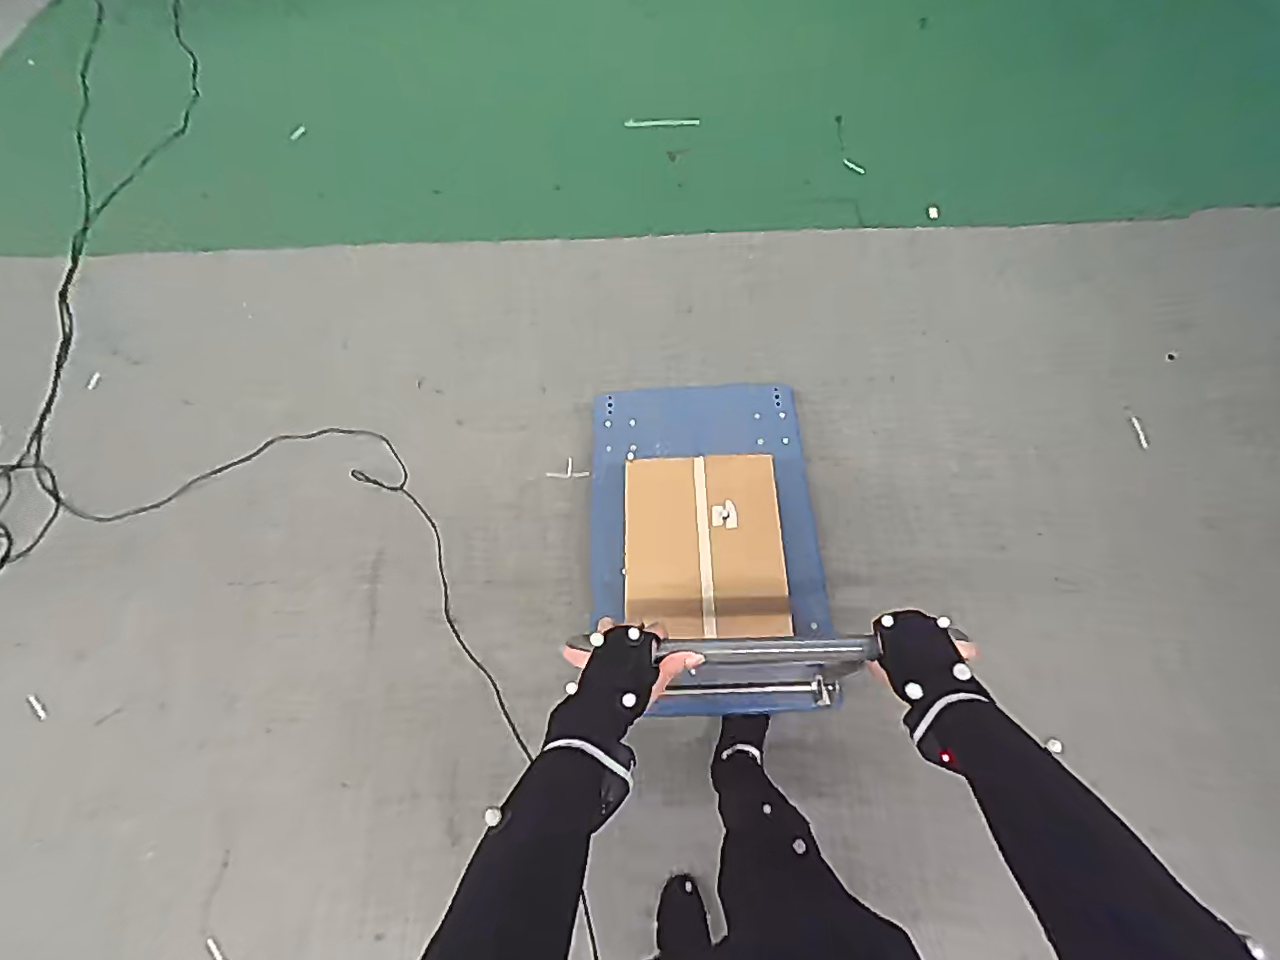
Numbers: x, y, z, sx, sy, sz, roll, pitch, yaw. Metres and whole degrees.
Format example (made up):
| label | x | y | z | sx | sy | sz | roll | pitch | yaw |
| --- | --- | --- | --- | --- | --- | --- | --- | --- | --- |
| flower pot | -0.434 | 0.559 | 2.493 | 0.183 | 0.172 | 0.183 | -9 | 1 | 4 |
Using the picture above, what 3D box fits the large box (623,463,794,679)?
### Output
| label | x | y | z | sx | sy | sz | roll | pitch | yaw |
| --- | --- | --- | --- | --- | --- | --- | --- | --- | --- |
| large box | 0.132 | 0.214 | 1.213 | 0.320 | 0.320 | 0.408 | -2 | 64 | 1 |
